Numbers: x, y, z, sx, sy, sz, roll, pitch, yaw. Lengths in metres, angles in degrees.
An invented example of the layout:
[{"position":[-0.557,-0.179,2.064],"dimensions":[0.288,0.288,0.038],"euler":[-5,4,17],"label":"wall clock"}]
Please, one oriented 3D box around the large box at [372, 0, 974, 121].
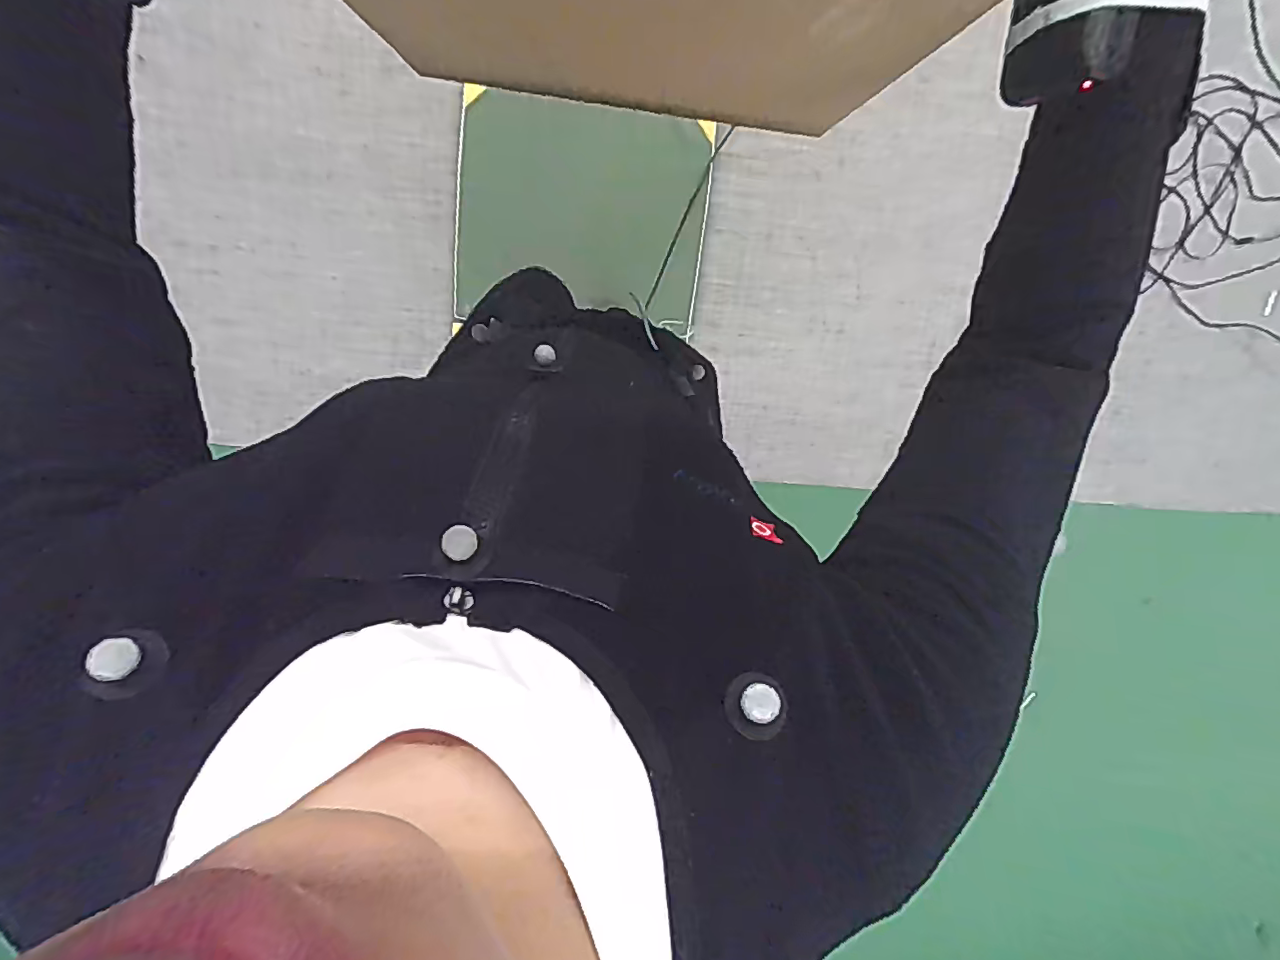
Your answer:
[{"position":[0.013,-0.468,0.343],"dimensions":[0.408,0.320,0.320],"euler":[5,111,-4],"label":"large box"}]
